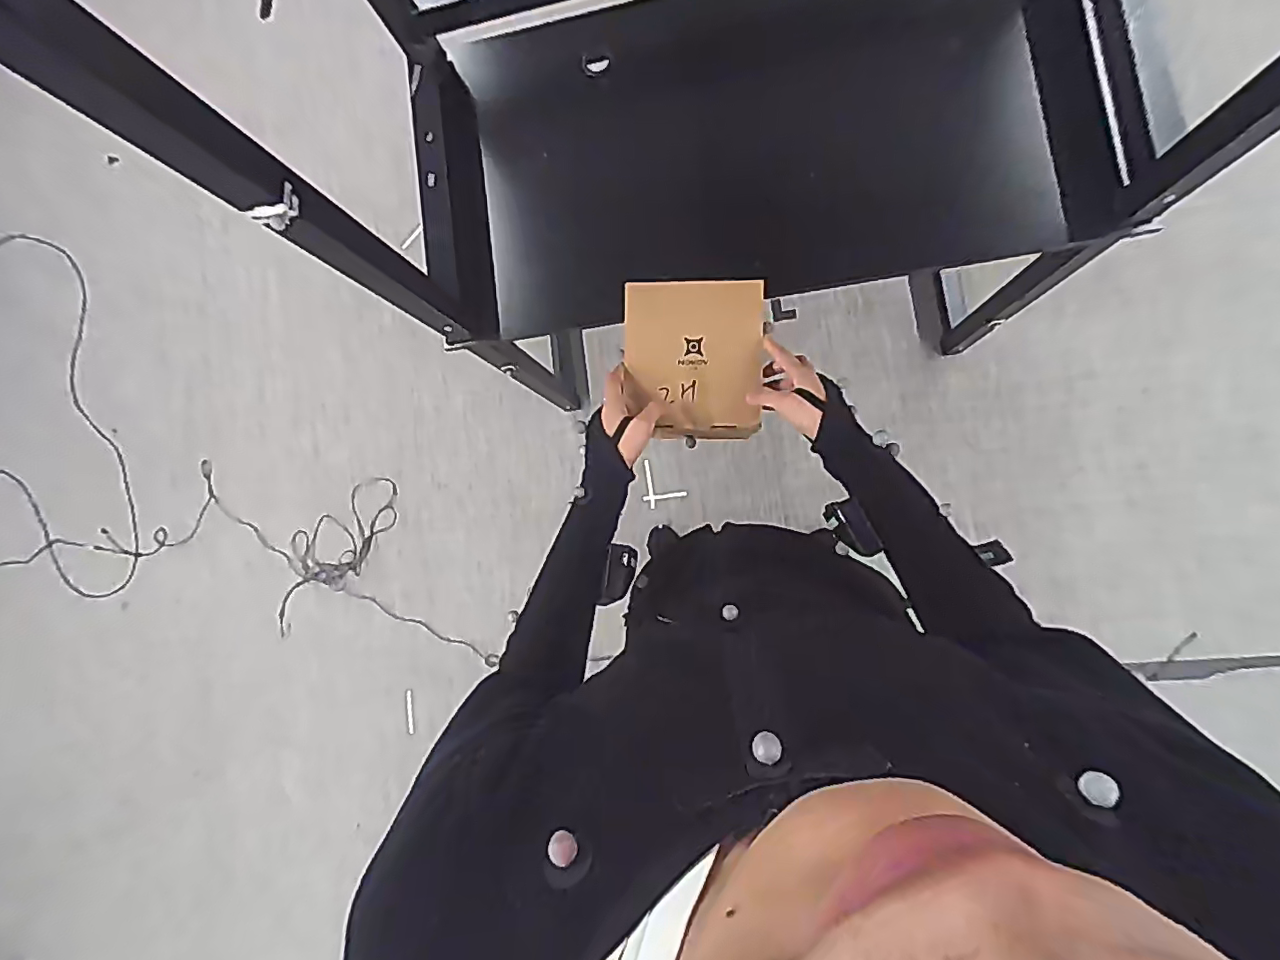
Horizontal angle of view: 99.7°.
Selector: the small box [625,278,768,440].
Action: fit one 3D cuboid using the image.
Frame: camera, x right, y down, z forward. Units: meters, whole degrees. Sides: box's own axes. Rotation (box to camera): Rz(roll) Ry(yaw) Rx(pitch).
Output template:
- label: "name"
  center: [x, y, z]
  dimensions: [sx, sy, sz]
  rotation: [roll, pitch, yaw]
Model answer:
- label: "small box"
  center: [0.072, -0.149, 0.715]
  dimensions: [0.168, 0.176, 0.179]
  rotation: [1, 90, 6]
